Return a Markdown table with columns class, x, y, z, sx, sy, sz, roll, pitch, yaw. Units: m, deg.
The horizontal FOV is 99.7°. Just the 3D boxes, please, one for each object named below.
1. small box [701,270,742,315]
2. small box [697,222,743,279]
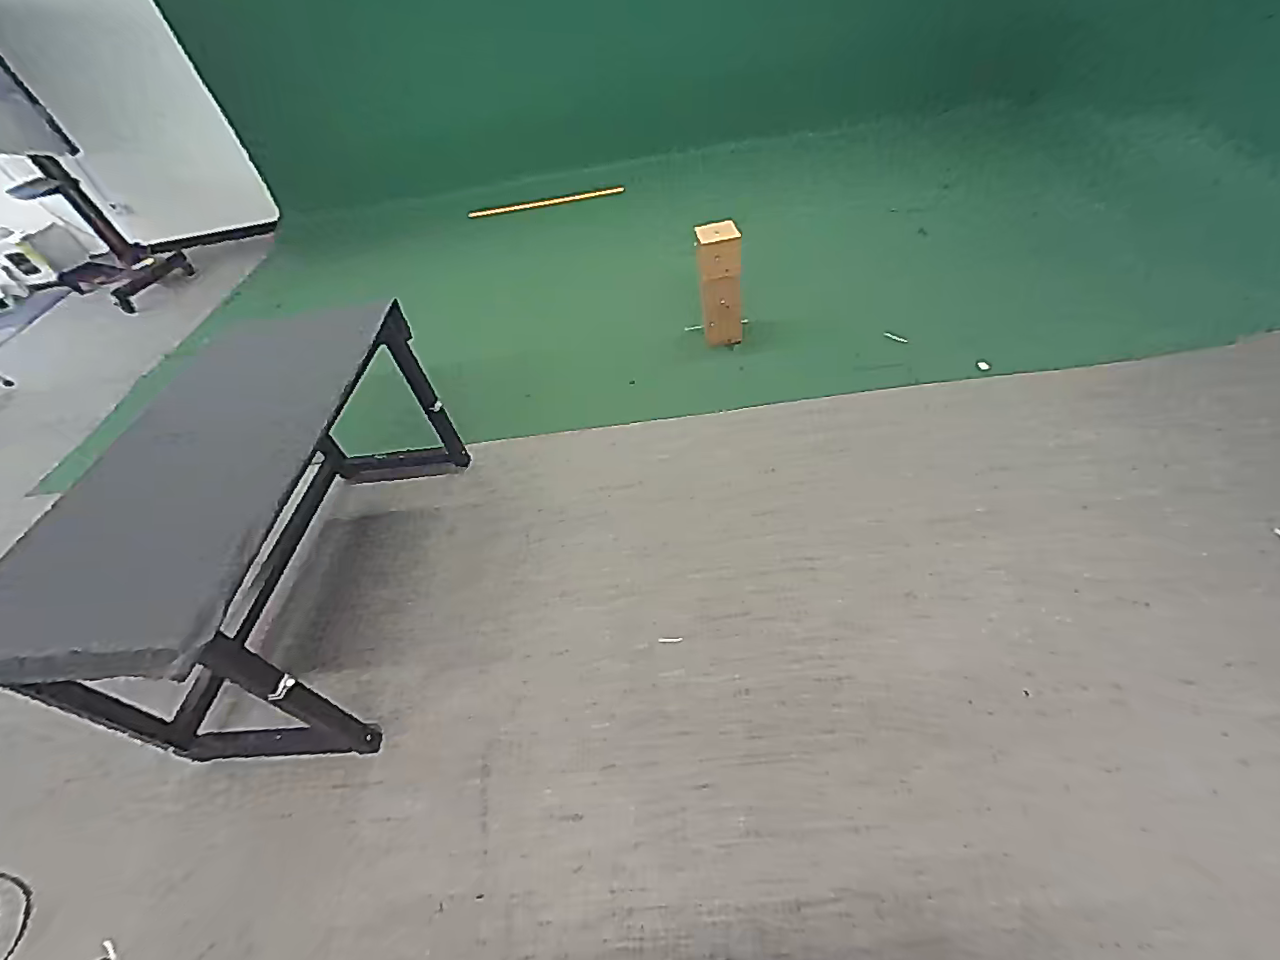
| class | x | y | z | sx | sy | sz | roll | pitch | yaw |
| --- | --- | --- | --- | --- | --- | --- | --- | --- | --- |
| small box | 0.371 | -0.880 | 2.465 | 0.168 | 0.176 | 0.179 | -9 | 46 | 4 |
| small box | 0.347 | -0.987 | 2.346 | 0.168 | 0.176 | 0.179 | -11 | 45 | 2 |
